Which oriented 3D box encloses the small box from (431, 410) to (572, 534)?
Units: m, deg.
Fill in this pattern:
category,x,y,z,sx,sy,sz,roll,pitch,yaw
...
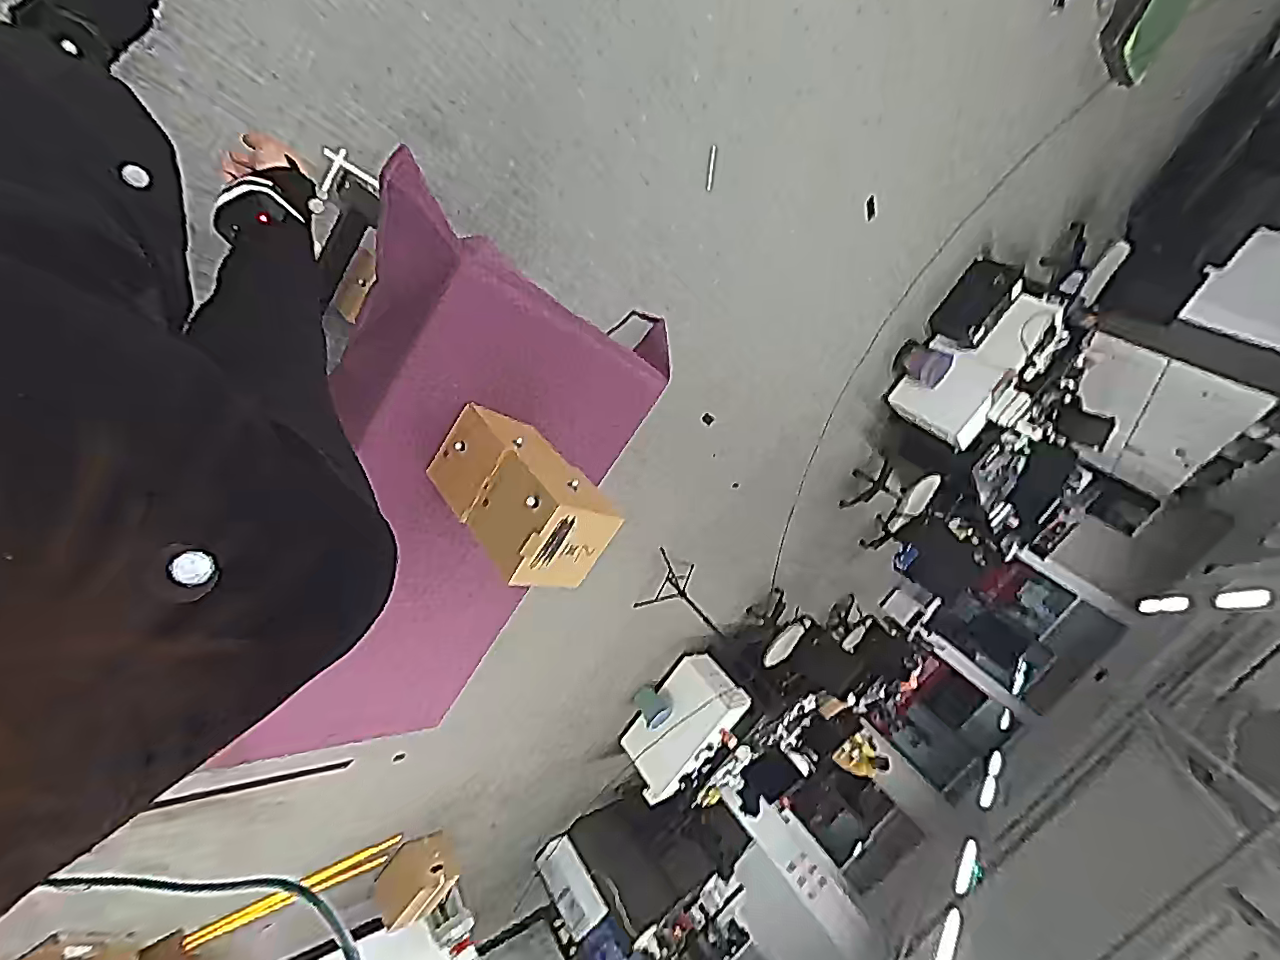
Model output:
category,x,y,z,sx,sy,sz,roll,pitch,yaw
small box,-0.275,-0.016,1.067,0.179,0.176,0.168,19,109,-52
